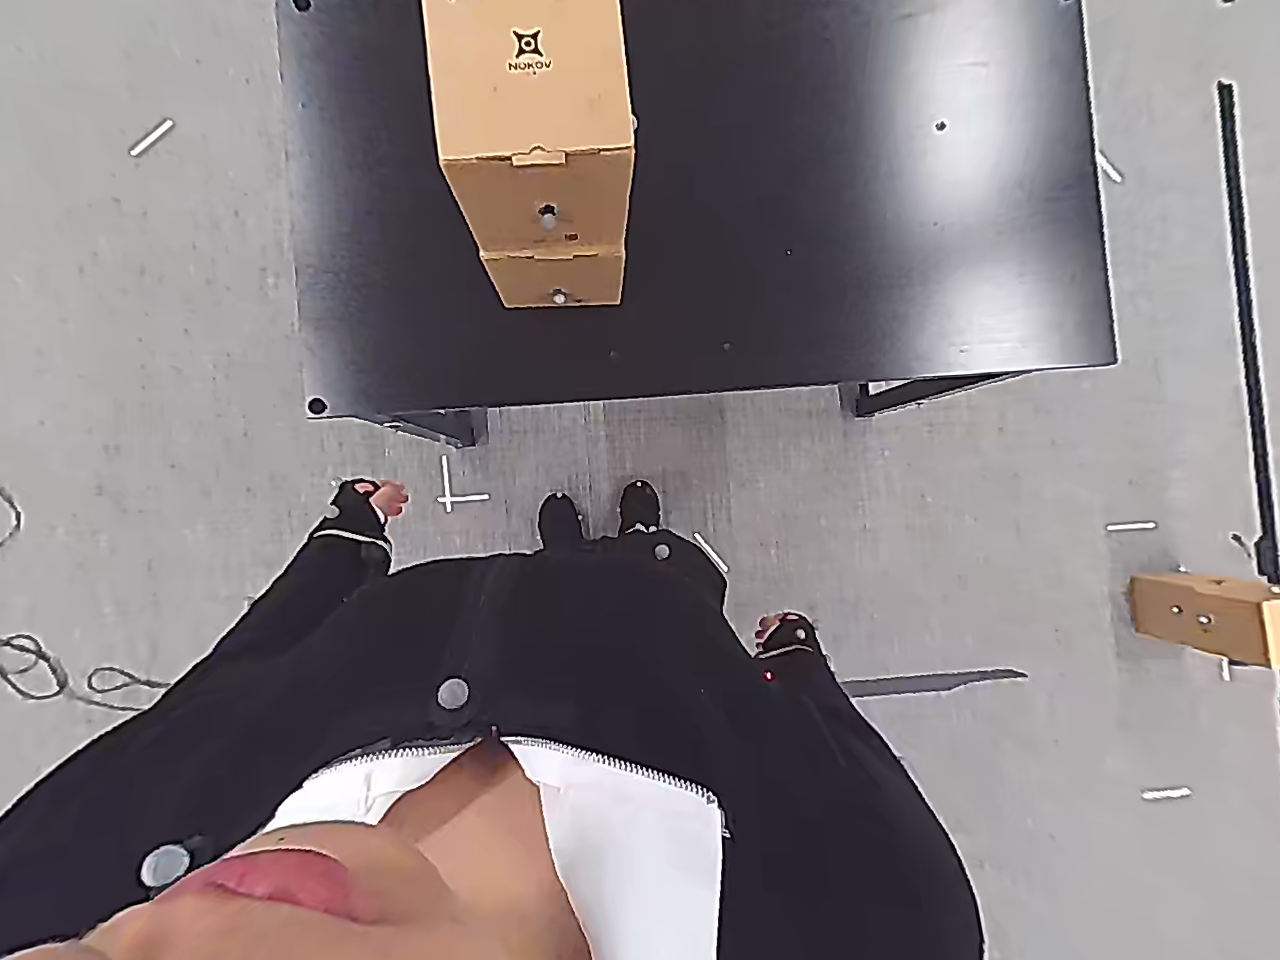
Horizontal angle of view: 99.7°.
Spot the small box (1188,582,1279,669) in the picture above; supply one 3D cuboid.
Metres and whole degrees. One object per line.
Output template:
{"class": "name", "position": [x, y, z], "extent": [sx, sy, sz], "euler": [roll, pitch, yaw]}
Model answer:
{"class": "small box", "position": [1.563, 0.359, 1.367], "extent": [0.179, 0.176, 0.168], "euler": [-8, 88, -3]}

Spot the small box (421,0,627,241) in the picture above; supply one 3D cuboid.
{"class": "small box", "position": [-0.102, -0.354, 0.536], "extent": [0.168, 0.176, 0.179], "euler": [-6, 89, -4]}

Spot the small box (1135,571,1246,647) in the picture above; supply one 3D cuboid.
{"class": "small box", "position": [1.554, 0.358, 1.529], "extent": [0.168, 0.176, 0.179], "euler": [-6, 90, -4]}

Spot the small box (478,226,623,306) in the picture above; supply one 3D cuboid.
{"class": "small box", "position": [-0.111, -0.341, 0.699], "extent": [0.168, 0.176, 0.179], "euler": [-3, 89, -4]}
